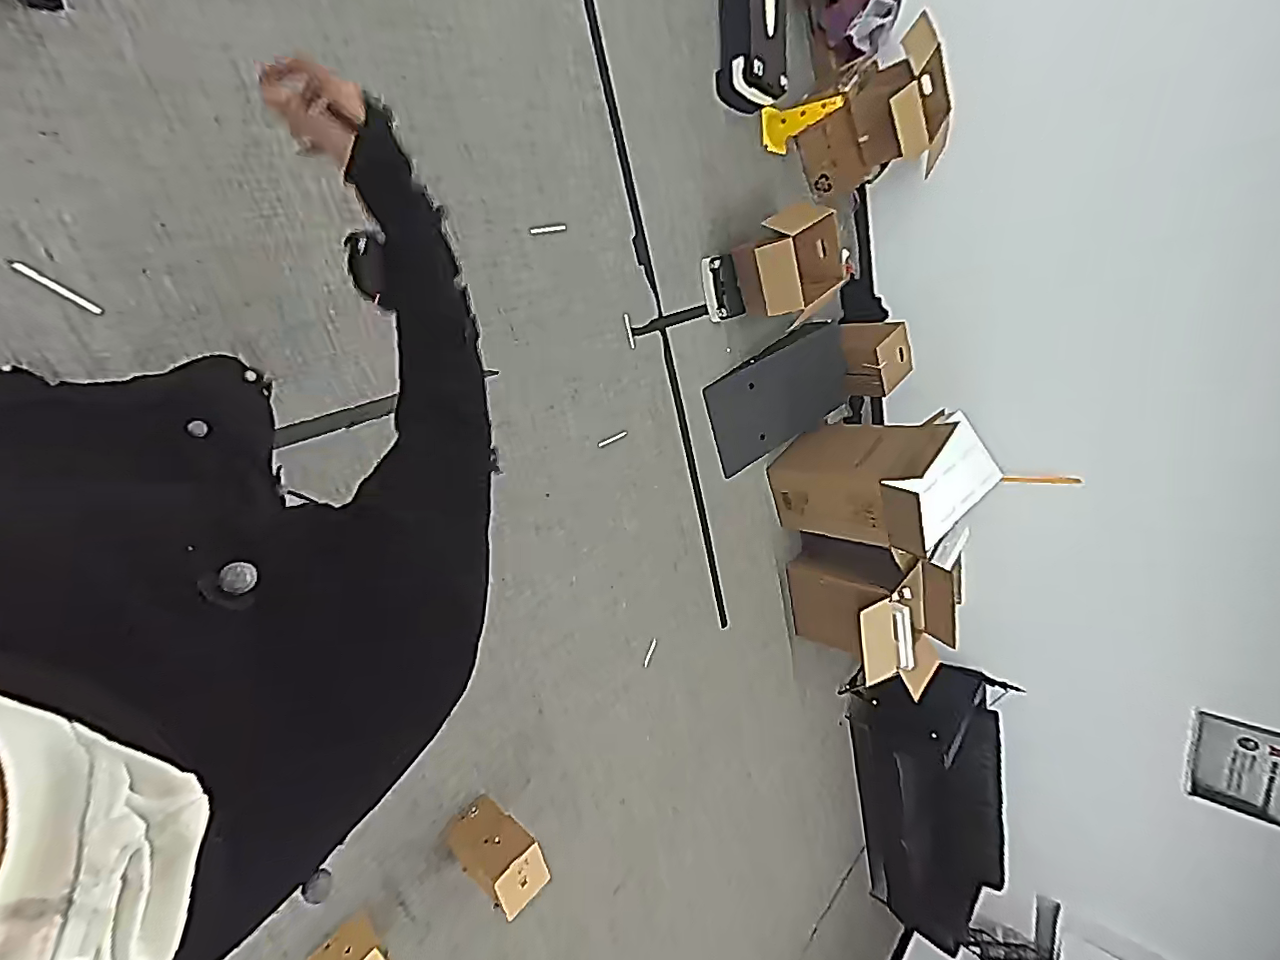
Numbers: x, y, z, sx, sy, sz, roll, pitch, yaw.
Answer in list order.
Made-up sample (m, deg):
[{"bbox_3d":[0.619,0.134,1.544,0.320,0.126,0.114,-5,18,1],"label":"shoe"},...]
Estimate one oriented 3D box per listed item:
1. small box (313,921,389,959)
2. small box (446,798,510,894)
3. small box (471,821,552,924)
[{"bbox_3d":[-0.837,1.448,1.578,0.168,0.176,0.179,-34,118,-37],"label":"small box"},{"bbox_3d":[-0.533,1.241,1.848,0.168,0.176,0.179,-28,114,-40],"label":"small box"},{"bbox_3d":[-0.414,1.249,1.735,0.168,0.176,0.179,-29,114,-40],"label":"small box"}]
